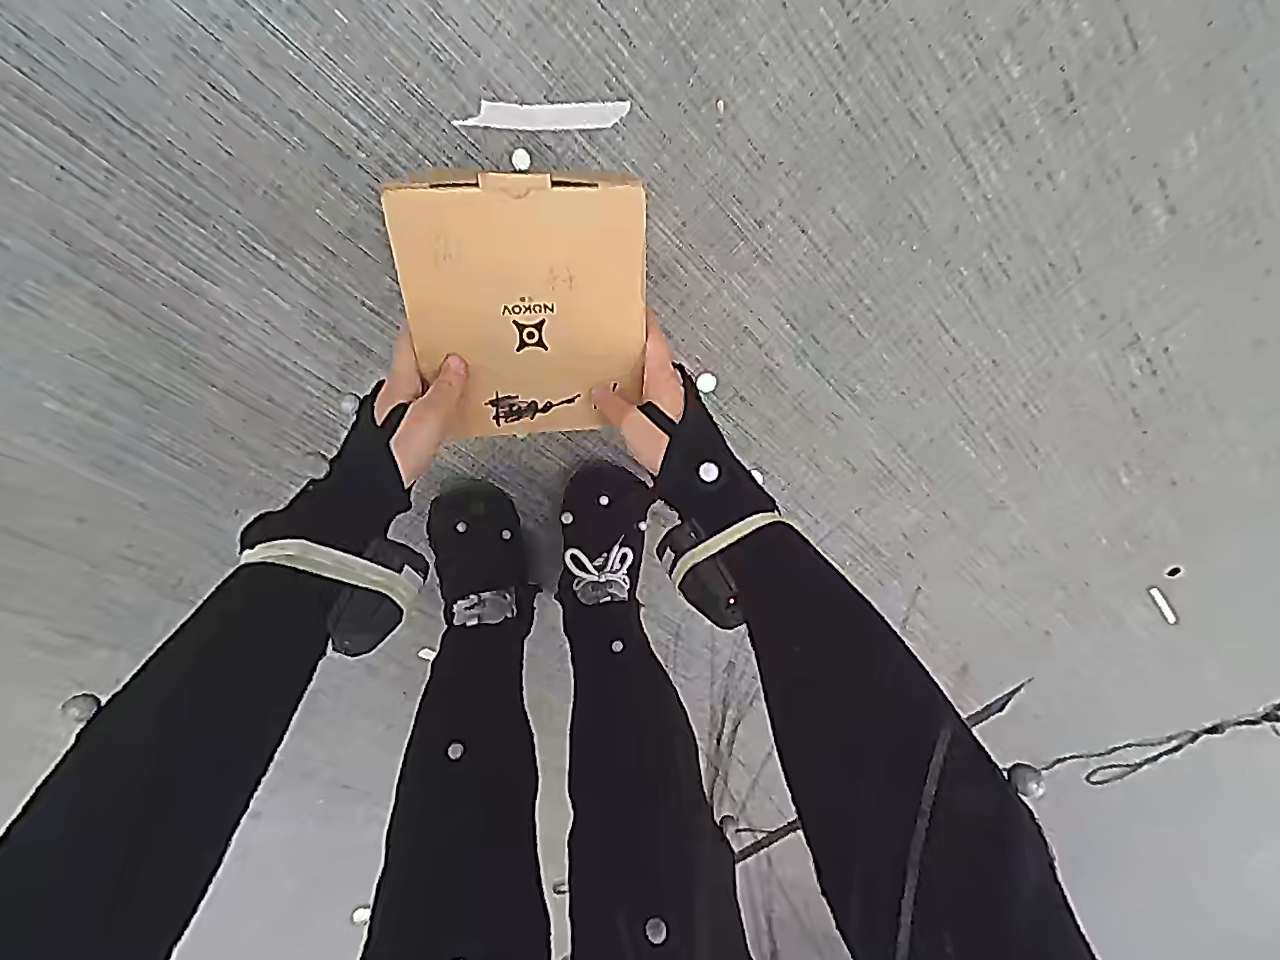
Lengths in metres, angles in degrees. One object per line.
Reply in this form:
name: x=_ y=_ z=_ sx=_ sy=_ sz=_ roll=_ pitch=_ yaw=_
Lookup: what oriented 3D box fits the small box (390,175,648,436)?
small box: x=-0.088 y=-0.154 z=0.453 sx=0.168 sy=0.176 sz=0.179 roll=-5 pitch=122 yaw=-7
